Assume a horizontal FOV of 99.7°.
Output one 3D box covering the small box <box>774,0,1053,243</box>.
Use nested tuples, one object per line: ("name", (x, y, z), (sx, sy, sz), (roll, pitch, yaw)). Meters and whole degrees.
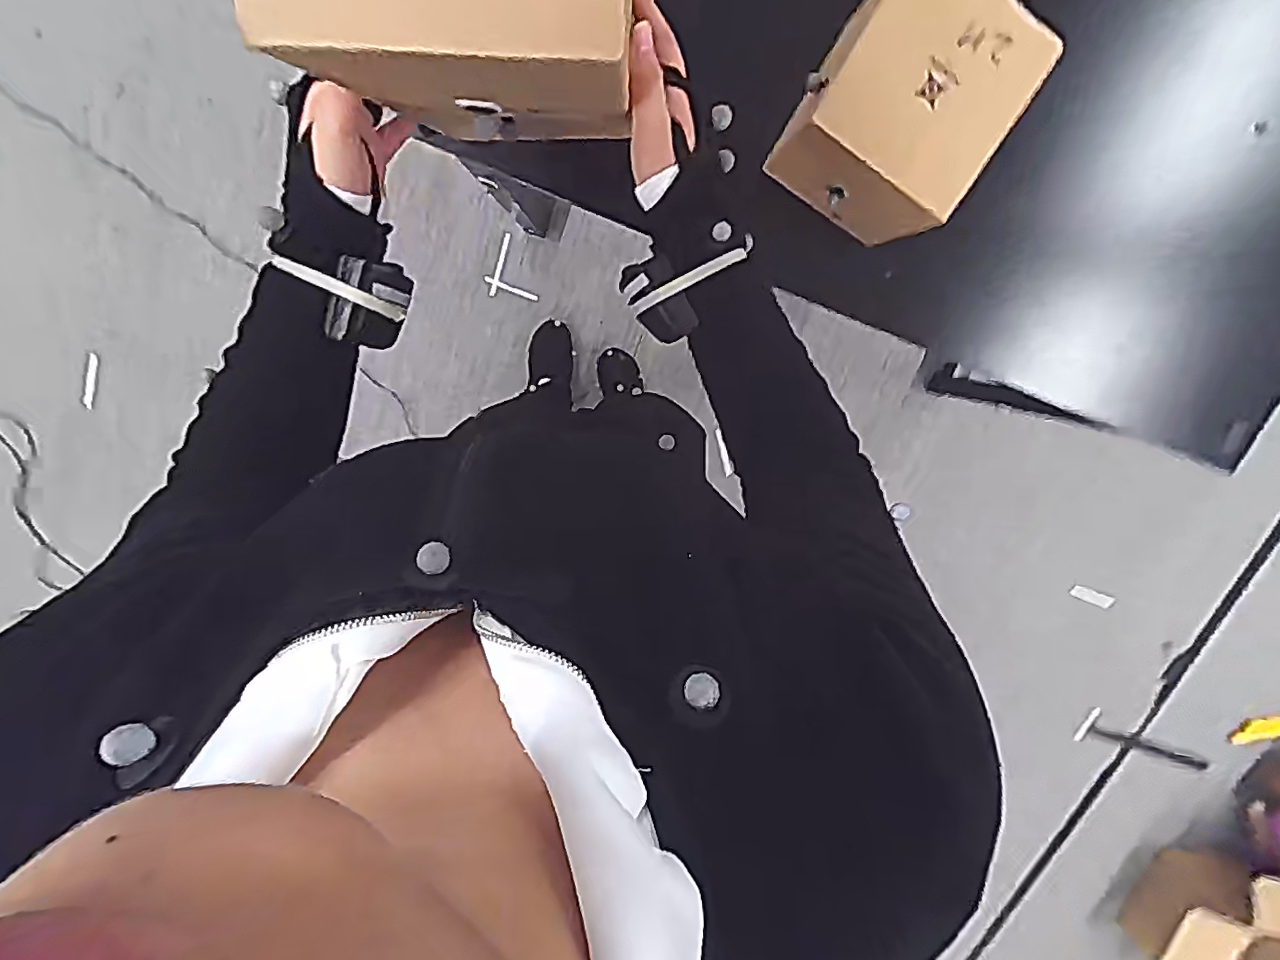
("small box", (0.265, -0.381, 0.576), (0.168, 0.176, 0.179), (30, 101, -11))

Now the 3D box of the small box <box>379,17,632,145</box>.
("small box", (-0.097, -0.367, 0.419), (0.179, 0.176, 0.168), (-1, 115, 1))

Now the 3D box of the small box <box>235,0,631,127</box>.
("small box", (-0.088, -0.295, 0.272), (0.168, 0.176, 0.179), (1, 117, 0))
